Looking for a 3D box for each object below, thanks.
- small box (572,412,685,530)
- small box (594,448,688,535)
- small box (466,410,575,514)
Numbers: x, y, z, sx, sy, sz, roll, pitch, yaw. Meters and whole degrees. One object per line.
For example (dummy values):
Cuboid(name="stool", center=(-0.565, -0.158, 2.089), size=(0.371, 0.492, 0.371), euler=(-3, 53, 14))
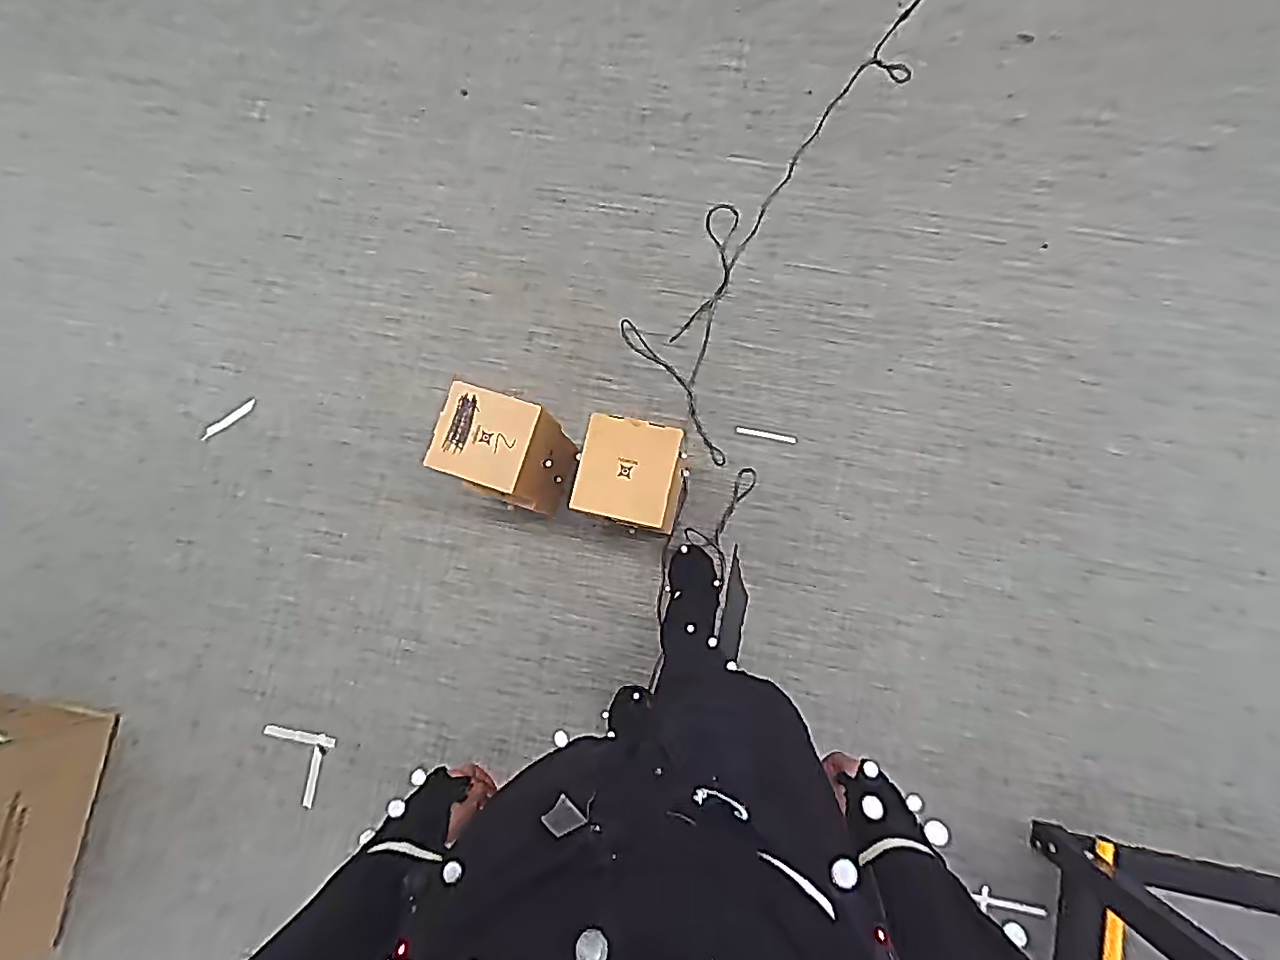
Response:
Cuboid(name="small box", center=(-0.011, -0.008, 1.007), size=(0.168, 0.176, 0.179), euler=(12, 83, 7))
Cuboid(name="small box", center=(0.006, 0.015, 1.167), size=(0.168, 0.176, 0.179), euler=(12, 84, 8))
Cuboid(name="small box", center=(-0.253, -0.032, 1.195), size=(0.168, 0.176, 0.179), euler=(18, 85, 7))
